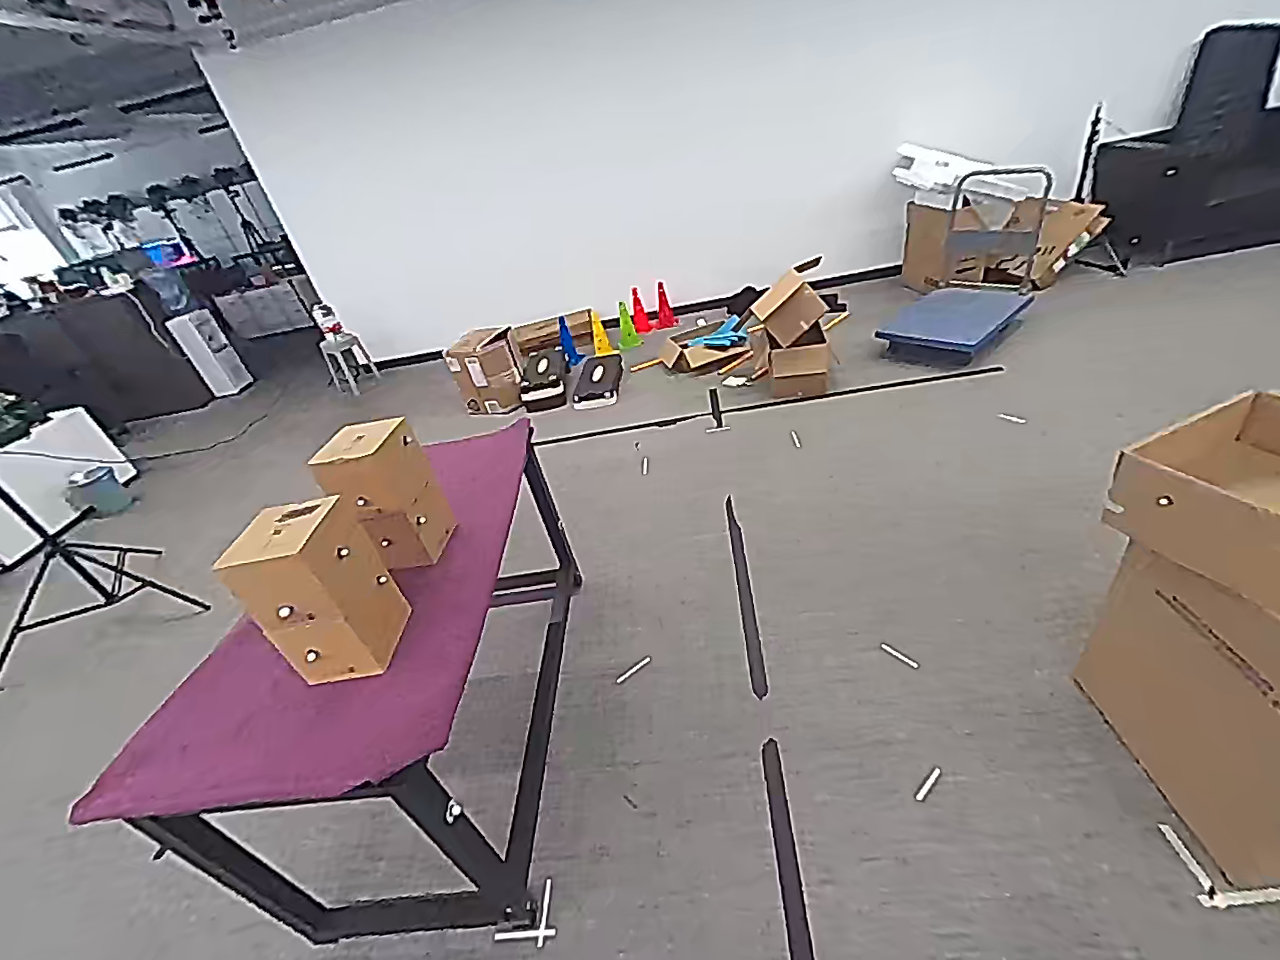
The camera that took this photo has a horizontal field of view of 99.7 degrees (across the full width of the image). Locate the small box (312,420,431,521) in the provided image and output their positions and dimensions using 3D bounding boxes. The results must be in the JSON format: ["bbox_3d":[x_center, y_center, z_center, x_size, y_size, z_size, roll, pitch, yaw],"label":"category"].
[{"bbox_3d":[-0.627,-0.022,1.294,0.168,0.176,0.179,-8,34,10],"label":"small box"}]

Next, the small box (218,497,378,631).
[{"bbox_3d":[-0.635,0.160,1.034,0.168,0.176,0.179,-11,34,5],"label":"small box"}]

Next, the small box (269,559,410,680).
[{"bbox_3d":[-0.607,0.296,1.124,0.168,0.176,0.179,-10,33,4],"label":"small box"}]
